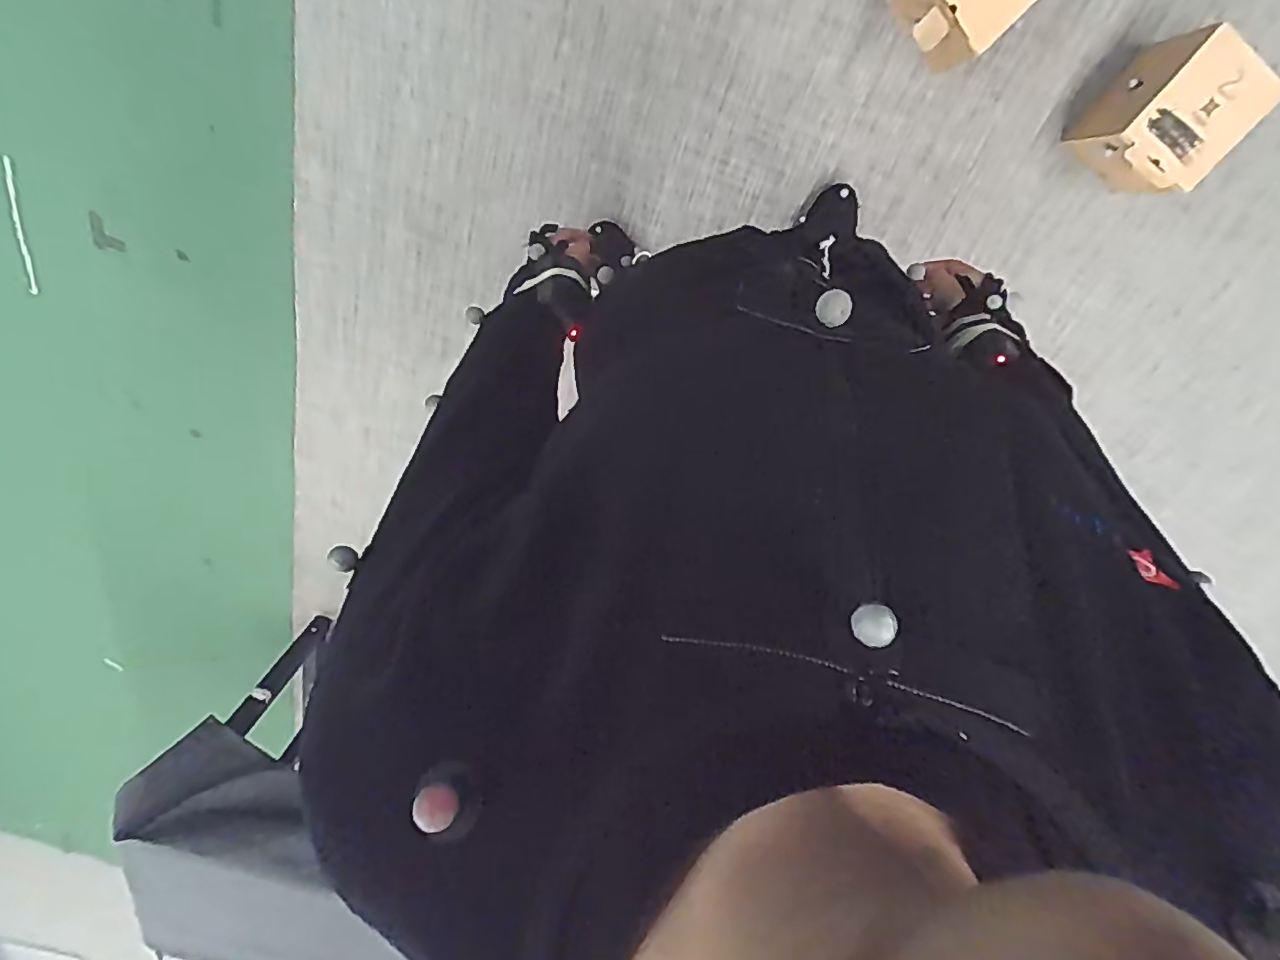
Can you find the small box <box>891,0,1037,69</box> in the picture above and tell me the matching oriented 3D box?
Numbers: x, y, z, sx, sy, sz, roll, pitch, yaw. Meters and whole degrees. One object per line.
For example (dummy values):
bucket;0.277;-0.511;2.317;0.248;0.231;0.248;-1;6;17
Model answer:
small box;0.541;-0.810;0.864;0.168;0.176;0.179;41;115;-17
